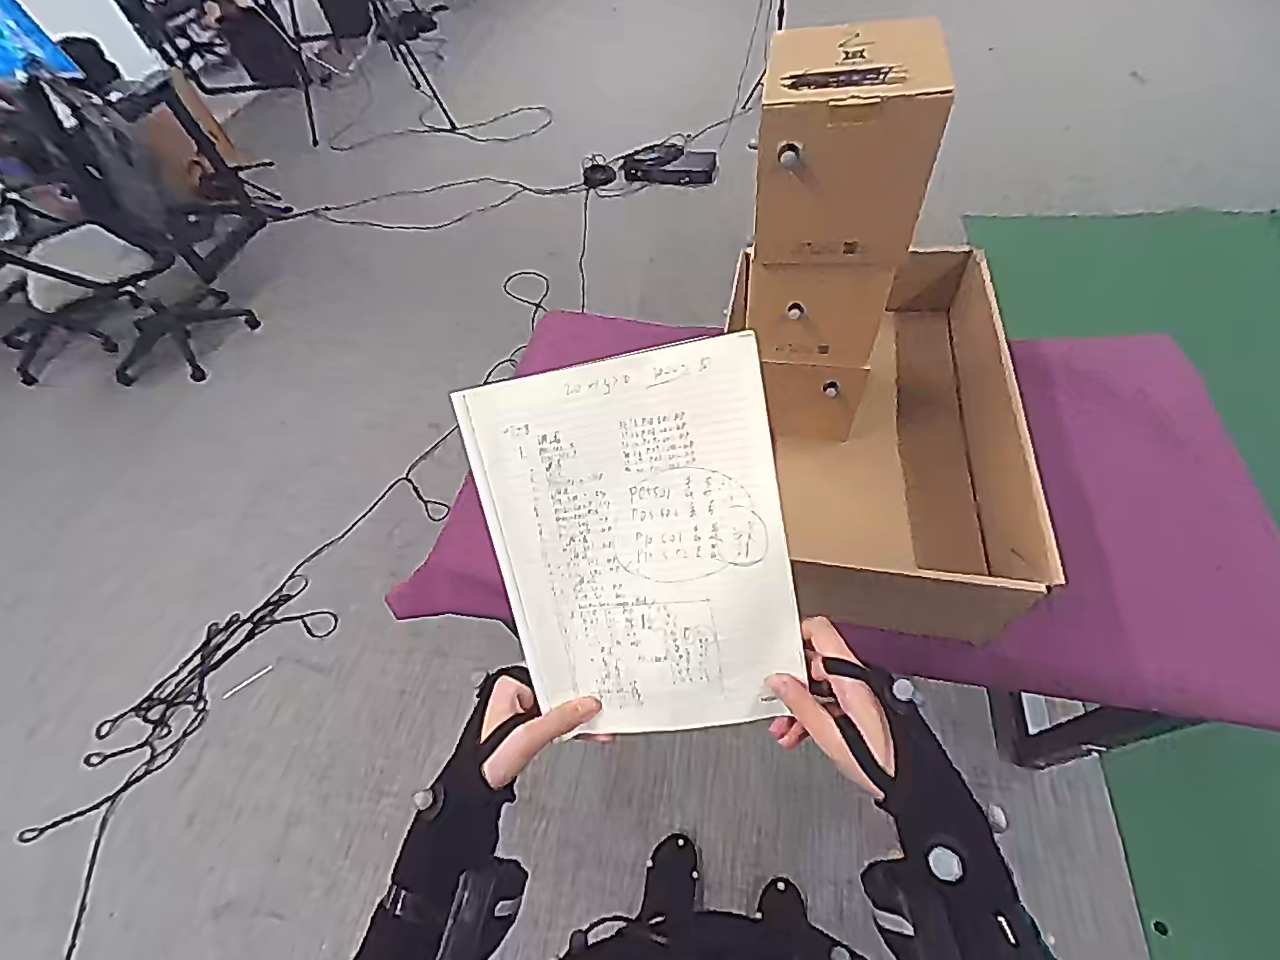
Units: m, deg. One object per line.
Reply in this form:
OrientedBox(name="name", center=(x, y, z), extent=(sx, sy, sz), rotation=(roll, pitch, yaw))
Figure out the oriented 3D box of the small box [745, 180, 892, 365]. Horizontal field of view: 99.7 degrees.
OrientedBox(name="small box", center=(0.236, -0.276, 0.734), extent=(0.168, 0.176, 0.179), rotation=(7, 57, 14))
